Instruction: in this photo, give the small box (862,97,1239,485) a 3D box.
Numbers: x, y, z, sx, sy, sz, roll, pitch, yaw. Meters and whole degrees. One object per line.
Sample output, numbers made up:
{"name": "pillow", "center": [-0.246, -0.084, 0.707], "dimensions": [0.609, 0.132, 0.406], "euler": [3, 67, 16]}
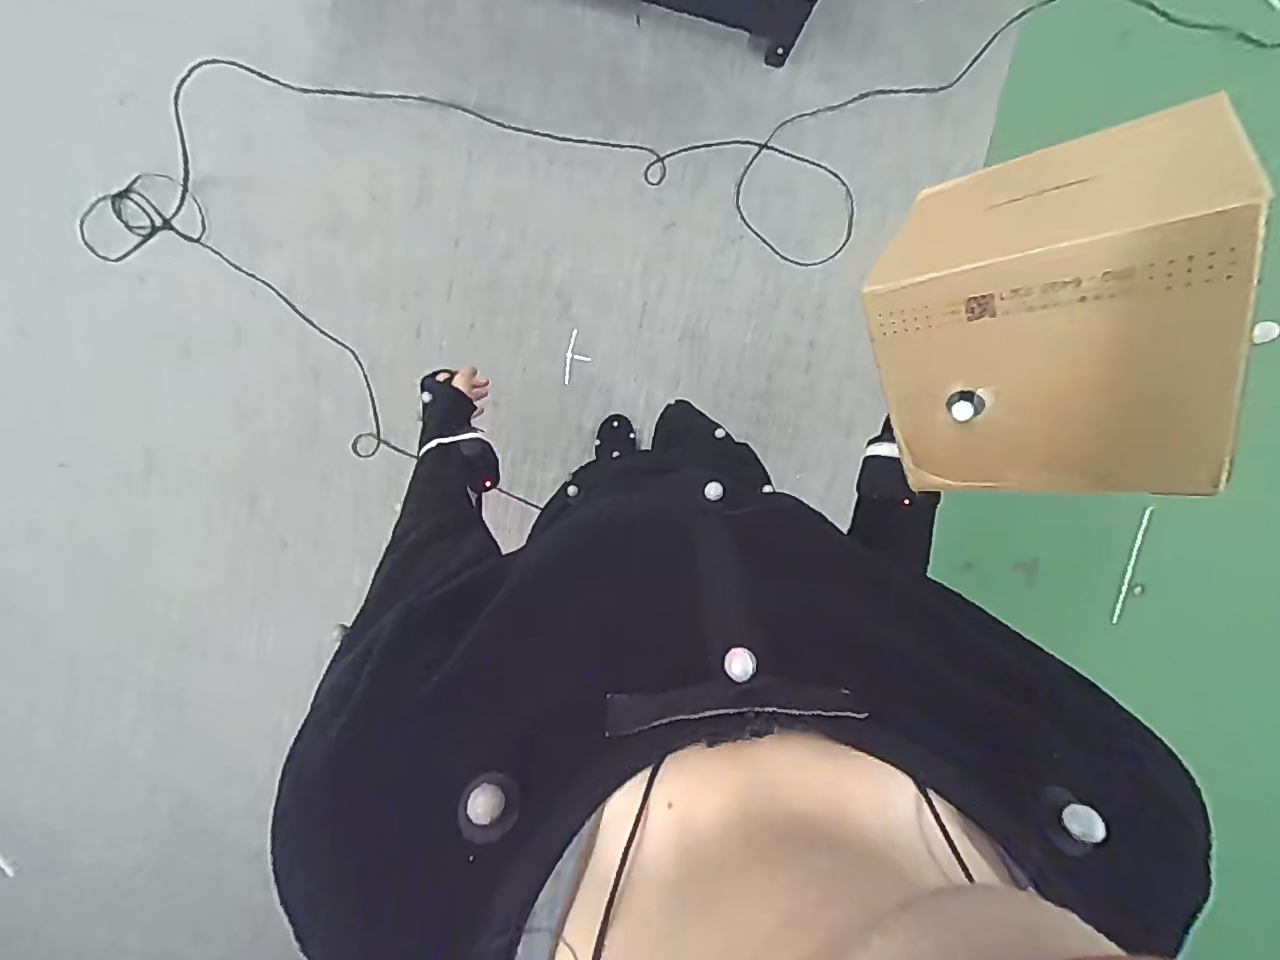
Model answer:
{"name": "small box", "center": [0.267, -0.115, 0.364], "dimensions": [0.179, 0.168, 0.176], "euler": [-53, 127, -35]}
